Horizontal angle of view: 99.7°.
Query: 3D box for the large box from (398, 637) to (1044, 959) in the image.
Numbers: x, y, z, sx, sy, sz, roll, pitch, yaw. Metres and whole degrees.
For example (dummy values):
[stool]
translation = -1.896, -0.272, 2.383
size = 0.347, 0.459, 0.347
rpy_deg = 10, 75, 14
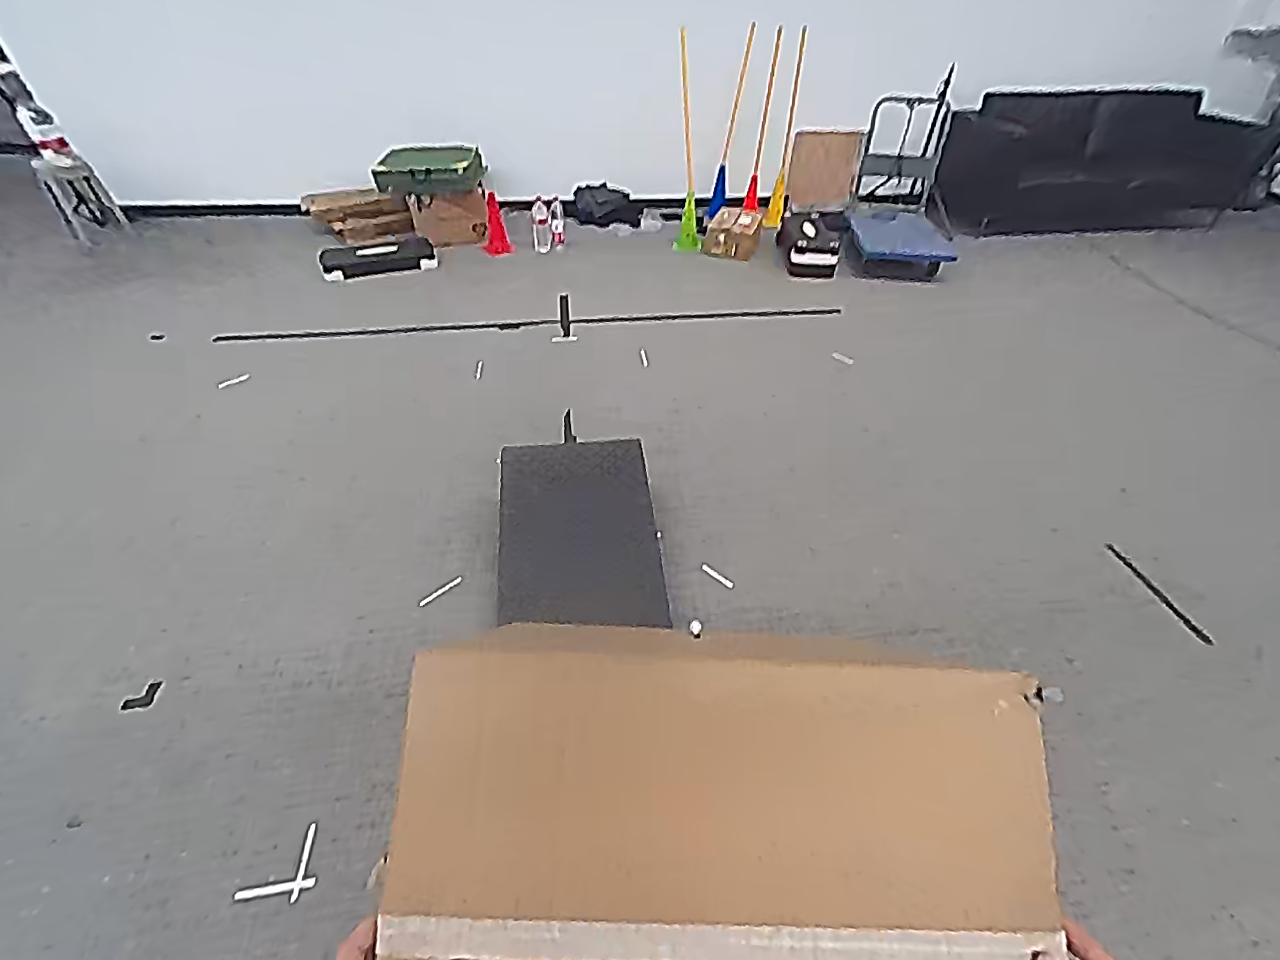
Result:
[large box]
translation = 0.046, 0.308, 0.478
size = 0.408, 0.320, 0.320
rpy_deg = 2, 79, -2
